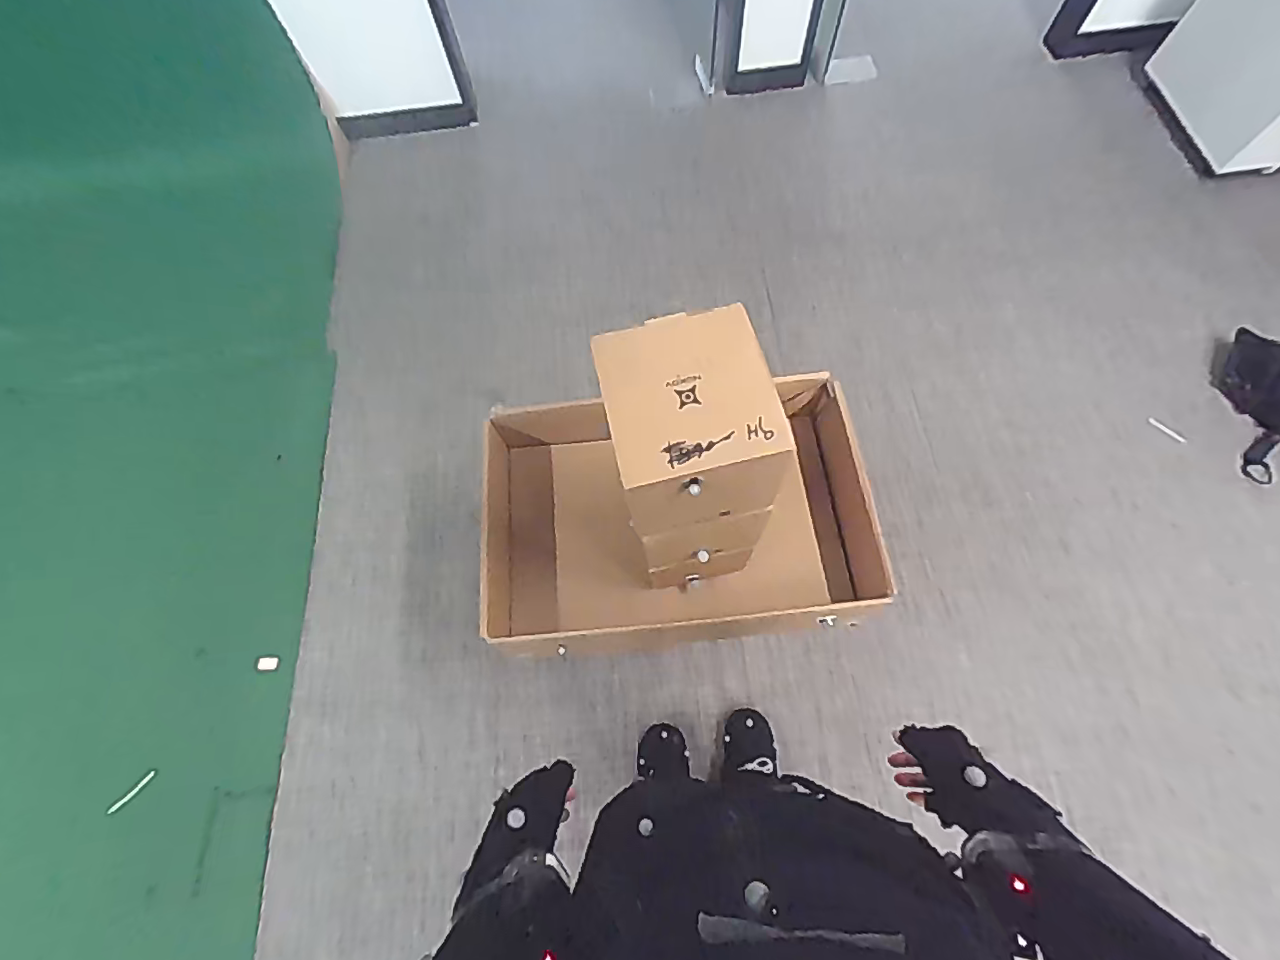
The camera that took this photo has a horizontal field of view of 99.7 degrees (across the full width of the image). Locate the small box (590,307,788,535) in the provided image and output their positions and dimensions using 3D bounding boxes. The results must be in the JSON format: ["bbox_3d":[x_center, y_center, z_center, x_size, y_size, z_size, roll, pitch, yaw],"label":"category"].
[{"bbox_3d":[0.050,-0.058,0.608,0.168,0.176,0.179,-14,67,1],"label":"small box"}]

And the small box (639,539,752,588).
[{"bbox_3d":[0.077,0.068,0.910,0.168,0.176,0.179,-13,69,0],"label":"small box"}]

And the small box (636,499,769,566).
[{"bbox_3d":[0.067,0.005,0.759,0.168,0.176,0.179,-13,68,0],"label":"small box"}]
